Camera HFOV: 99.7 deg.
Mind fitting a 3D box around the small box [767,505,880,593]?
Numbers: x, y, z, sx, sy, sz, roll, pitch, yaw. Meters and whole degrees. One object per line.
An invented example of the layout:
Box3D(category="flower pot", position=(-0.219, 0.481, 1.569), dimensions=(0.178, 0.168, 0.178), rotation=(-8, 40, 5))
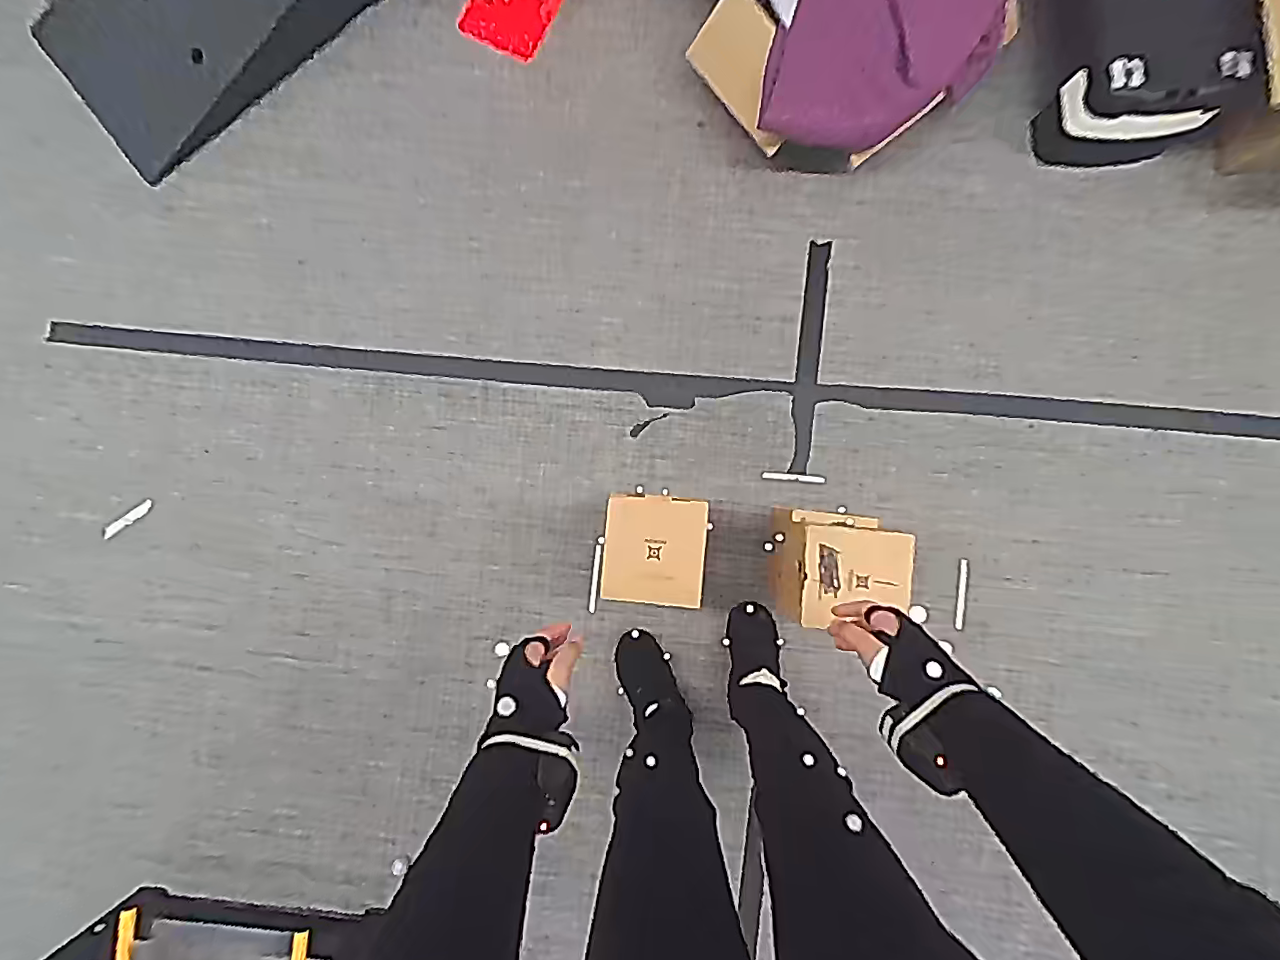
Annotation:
Box3D(category="small box", position=(0.365, 0.150, 1.104), dimensions=(0.168, 0.176, 0.179), rotation=(7, 90, 0))

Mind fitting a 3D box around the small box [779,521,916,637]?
Box3D(category="small box", position=(0.349, 0.162, 0.939), dimensions=(0.179, 0.176, 0.168), rotation=(5, 89, 1))

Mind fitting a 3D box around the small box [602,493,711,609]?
Box3D(category="small box", position=(0.030, 0.116, 0.952), dimensions=(0.168, 0.176, 0.179), rotation=(4, 90, 4))
